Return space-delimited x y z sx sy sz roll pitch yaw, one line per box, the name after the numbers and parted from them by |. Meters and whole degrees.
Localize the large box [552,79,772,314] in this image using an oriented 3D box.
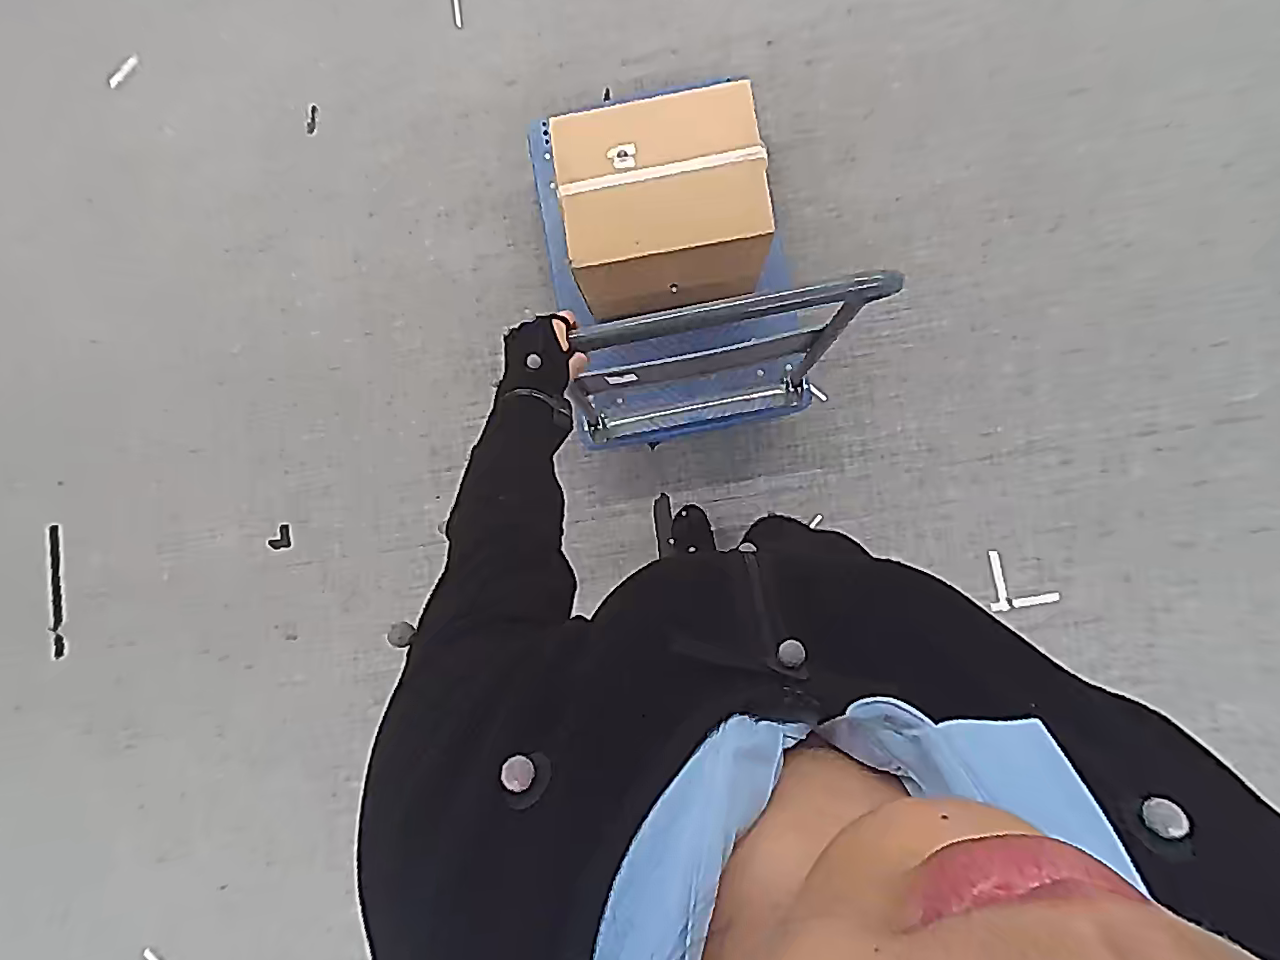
0.053 -0.603 1.217 0.408 0.320 0.320 -9 86 5 | large box
